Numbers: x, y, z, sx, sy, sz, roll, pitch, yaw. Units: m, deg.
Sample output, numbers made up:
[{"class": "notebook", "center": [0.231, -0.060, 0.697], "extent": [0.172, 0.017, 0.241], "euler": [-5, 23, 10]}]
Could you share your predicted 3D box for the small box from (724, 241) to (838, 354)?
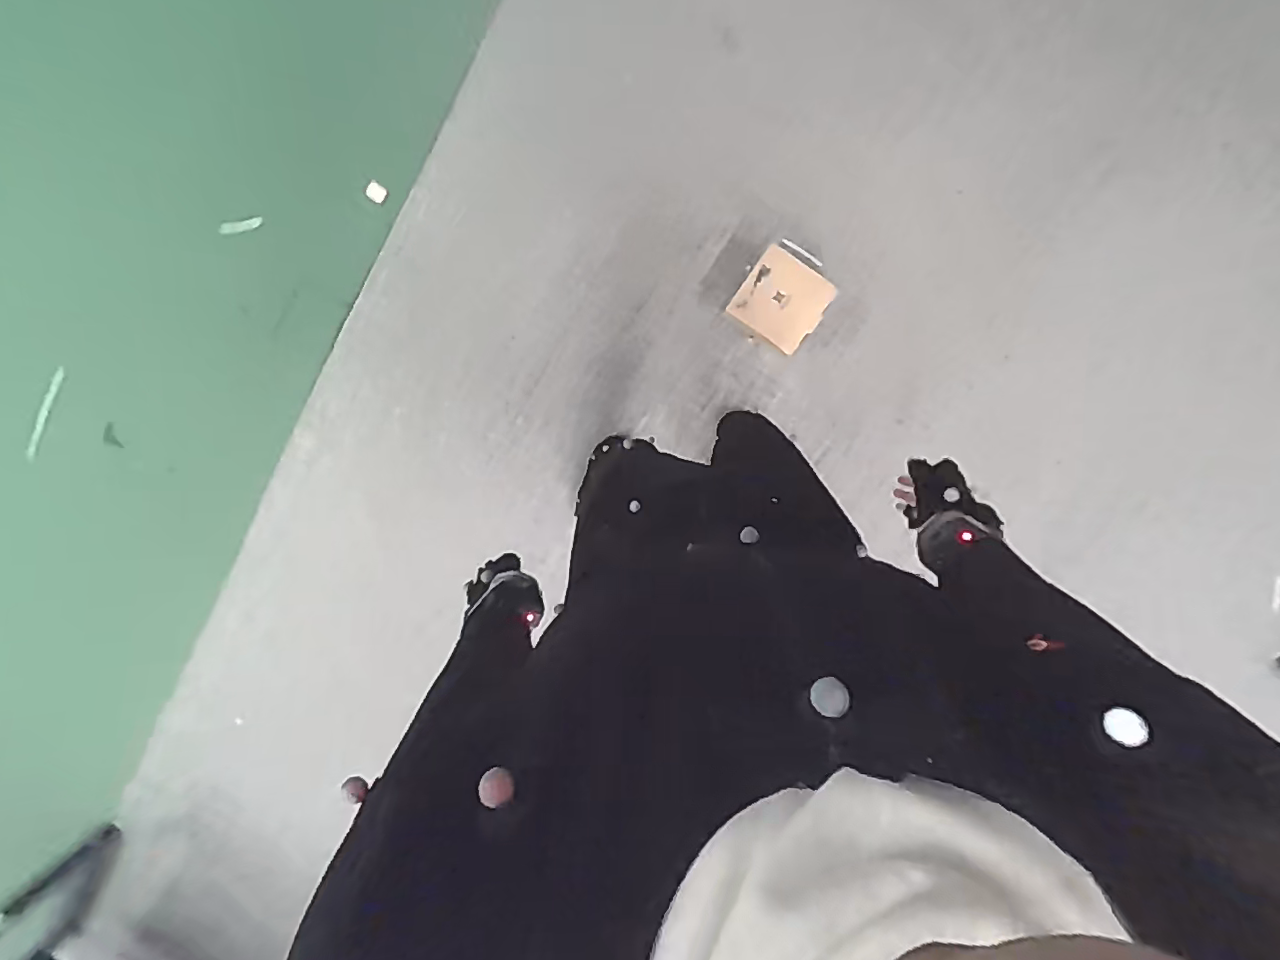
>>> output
[{"class": "small box", "center": [0.307, -0.402, 1.217], "extent": [0.179, 0.176, 0.168], "euler": [35, 103, -3]}]
